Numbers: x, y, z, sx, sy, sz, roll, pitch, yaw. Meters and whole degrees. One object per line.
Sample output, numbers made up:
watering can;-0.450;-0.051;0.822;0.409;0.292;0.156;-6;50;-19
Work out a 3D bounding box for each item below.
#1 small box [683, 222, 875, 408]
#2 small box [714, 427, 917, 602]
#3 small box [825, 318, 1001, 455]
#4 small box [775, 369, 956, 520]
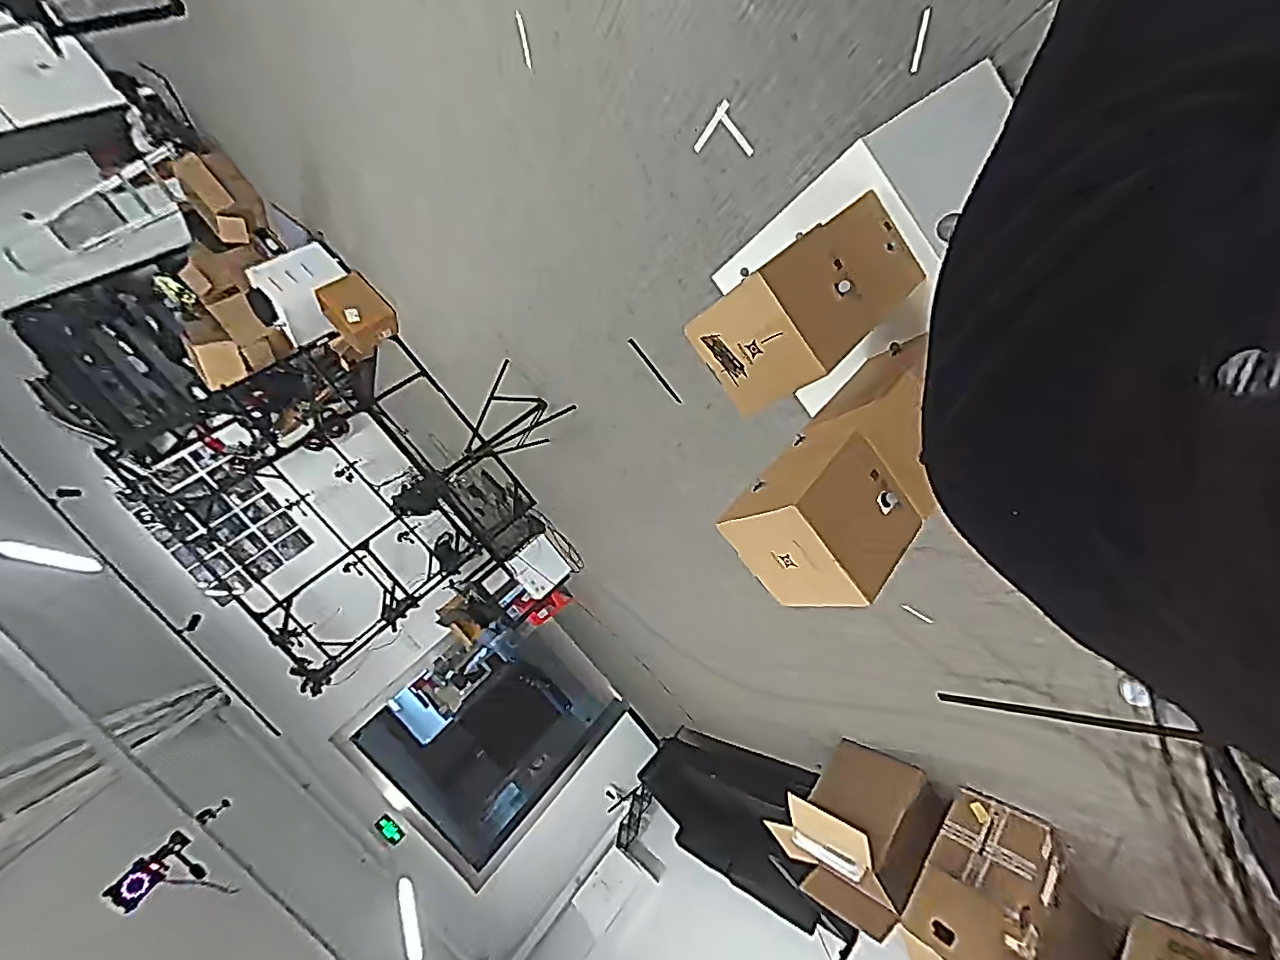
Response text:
small box;0.203;-0.236;0.793;0.168;0.176;0.179;52;151;-10
small box;0.245;0.053;0.762;0.168;0.176;0.179;50;152;-7
small box;0.460;-0.140;0.913;0.168;0.176;0.179;52;153;-8
small box;0.353;-0.043;0.836;0.168;0.176;0.179;51;153;-7
